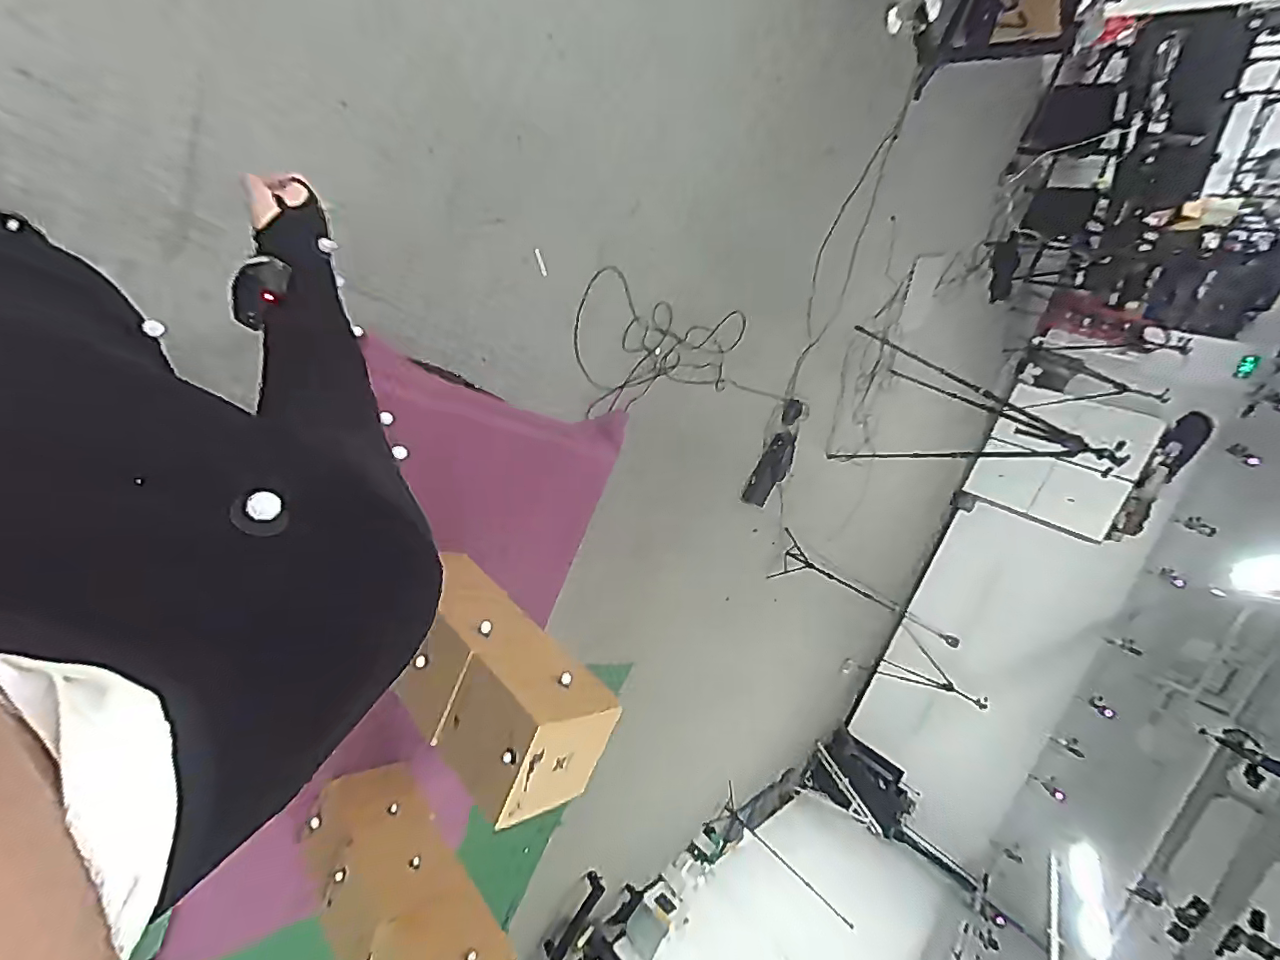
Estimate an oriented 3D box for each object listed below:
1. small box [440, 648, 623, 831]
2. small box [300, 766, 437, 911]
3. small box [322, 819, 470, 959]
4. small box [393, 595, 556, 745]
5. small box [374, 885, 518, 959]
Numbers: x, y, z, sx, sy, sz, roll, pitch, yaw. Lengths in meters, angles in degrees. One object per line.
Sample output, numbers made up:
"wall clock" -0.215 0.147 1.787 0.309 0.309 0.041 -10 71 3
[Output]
"small box" -0.164 0.371 0.815 0.179 0.176 0.168 15 101 -52
"small box" -0.565 0.730 1.123 0.179 0.176 0.168 19 97 -52
"small box" -0.459 0.785 1.010 0.179 0.176 0.168 13 101 -53
"small box" -0.282 0.306 0.909 0.179 0.176 0.168 17 99 -52
"small box" -0.346 0.849 0.914 0.179 0.176 0.168 14 100 -53
